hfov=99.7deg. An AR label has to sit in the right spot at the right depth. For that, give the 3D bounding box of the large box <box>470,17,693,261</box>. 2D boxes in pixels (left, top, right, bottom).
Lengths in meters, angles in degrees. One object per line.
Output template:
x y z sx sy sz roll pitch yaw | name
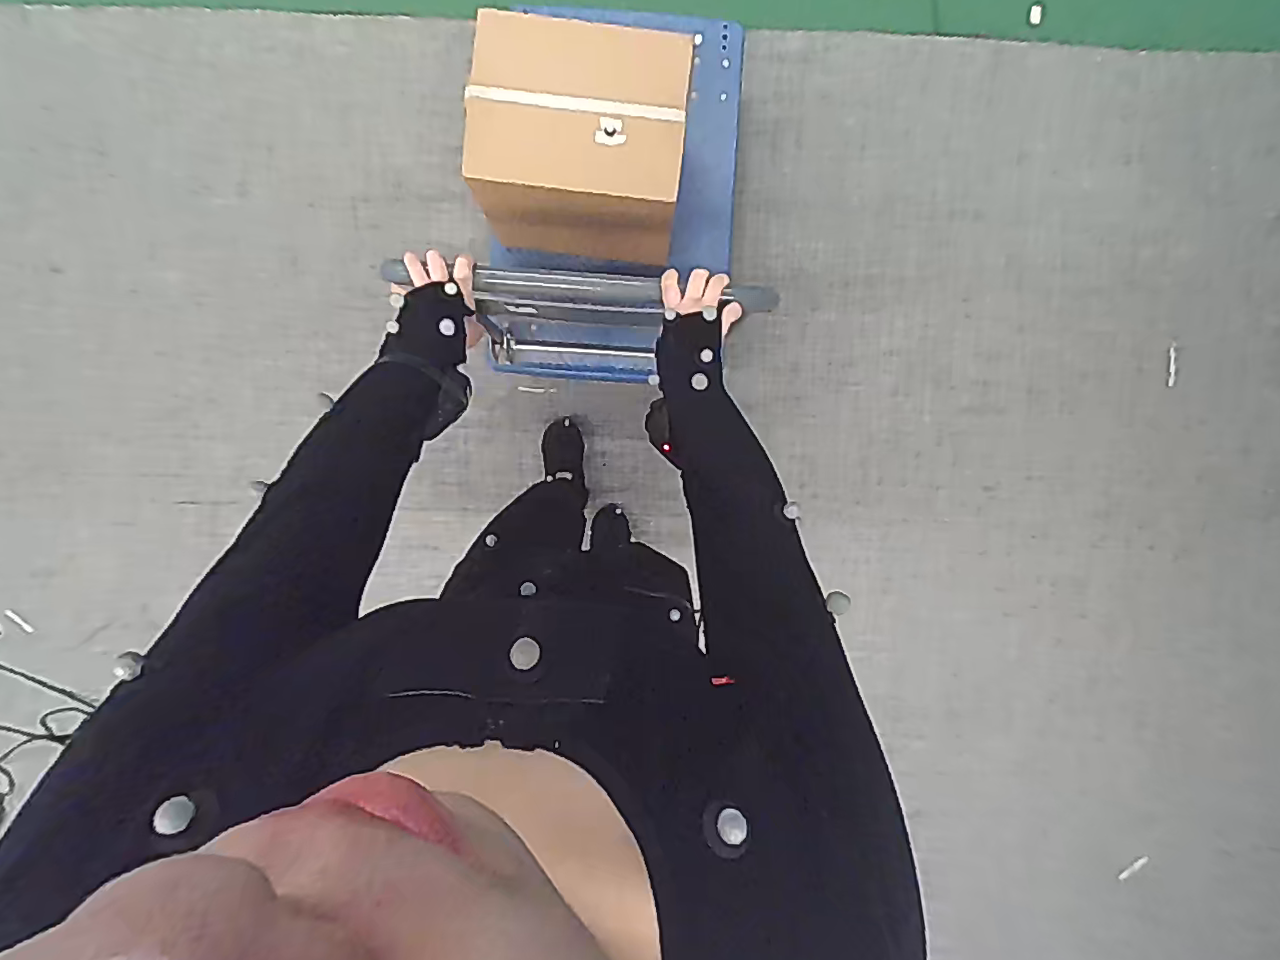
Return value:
-0.117 -0.701 1.168 0.408 0.320 0.320 6 90 -2 | large box
